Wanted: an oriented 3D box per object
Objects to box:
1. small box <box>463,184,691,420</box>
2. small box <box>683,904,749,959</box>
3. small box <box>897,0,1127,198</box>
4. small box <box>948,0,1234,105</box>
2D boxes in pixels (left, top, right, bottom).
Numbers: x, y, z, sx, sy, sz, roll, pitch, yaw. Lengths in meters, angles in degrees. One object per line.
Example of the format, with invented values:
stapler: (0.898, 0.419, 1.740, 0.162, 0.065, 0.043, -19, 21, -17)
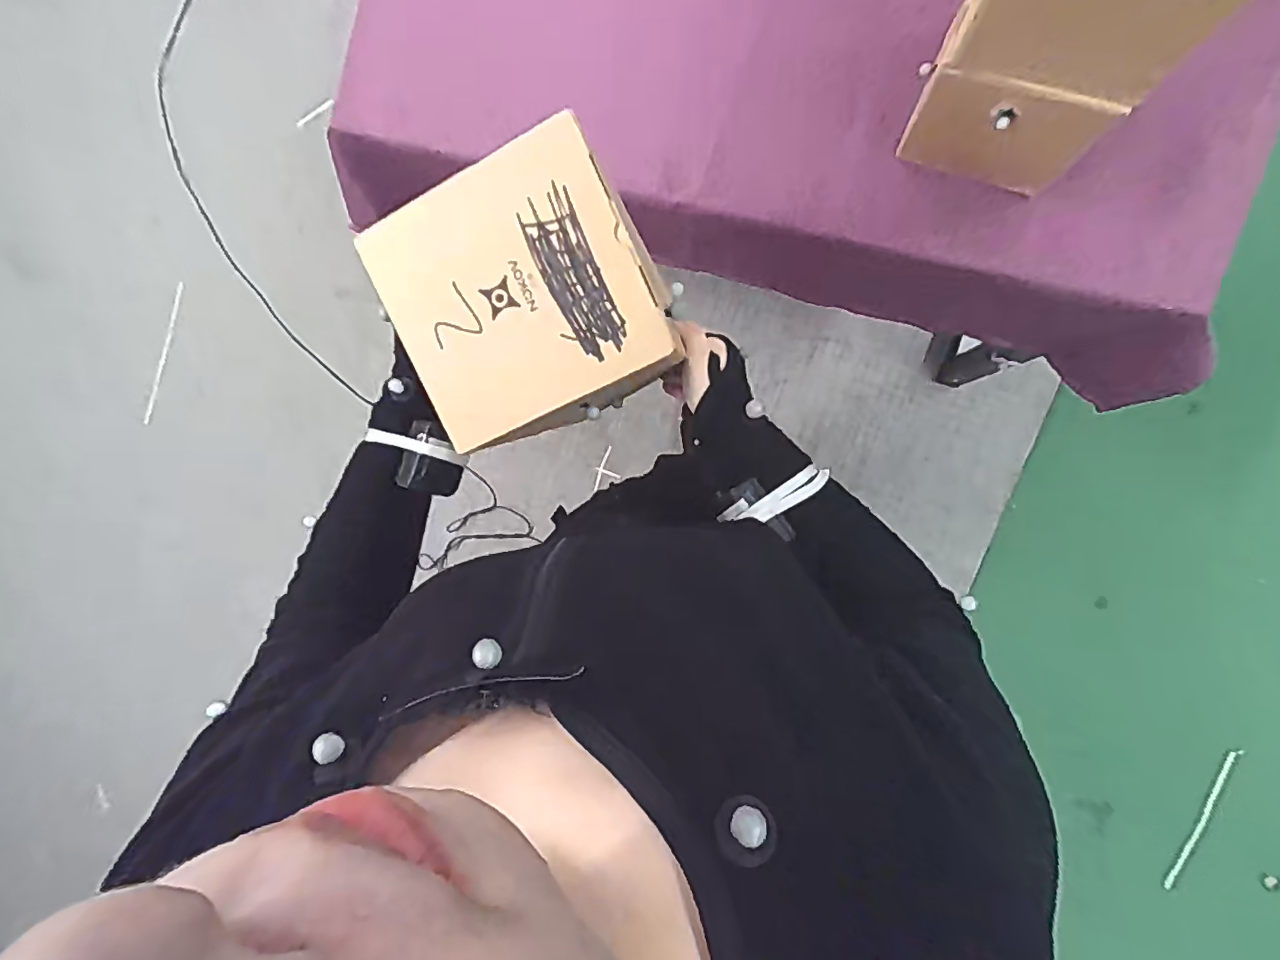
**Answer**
small box: (-0.054, -0.179, 0.601, 0.179, 0.176, 0.168, -27, 95, 11)
small box: (0.197, 1.269, 1.421, 0.168, 0.176, 0.179, 3, 92, 10)
small box: (0.411, -0.441, 0.586, 0.179, 0.176, 0.168, 24, 97, 9)
small box: (0.382, -0.440, 0.426, 0.179, 0.176, 0.168, 22, 96, 9)
